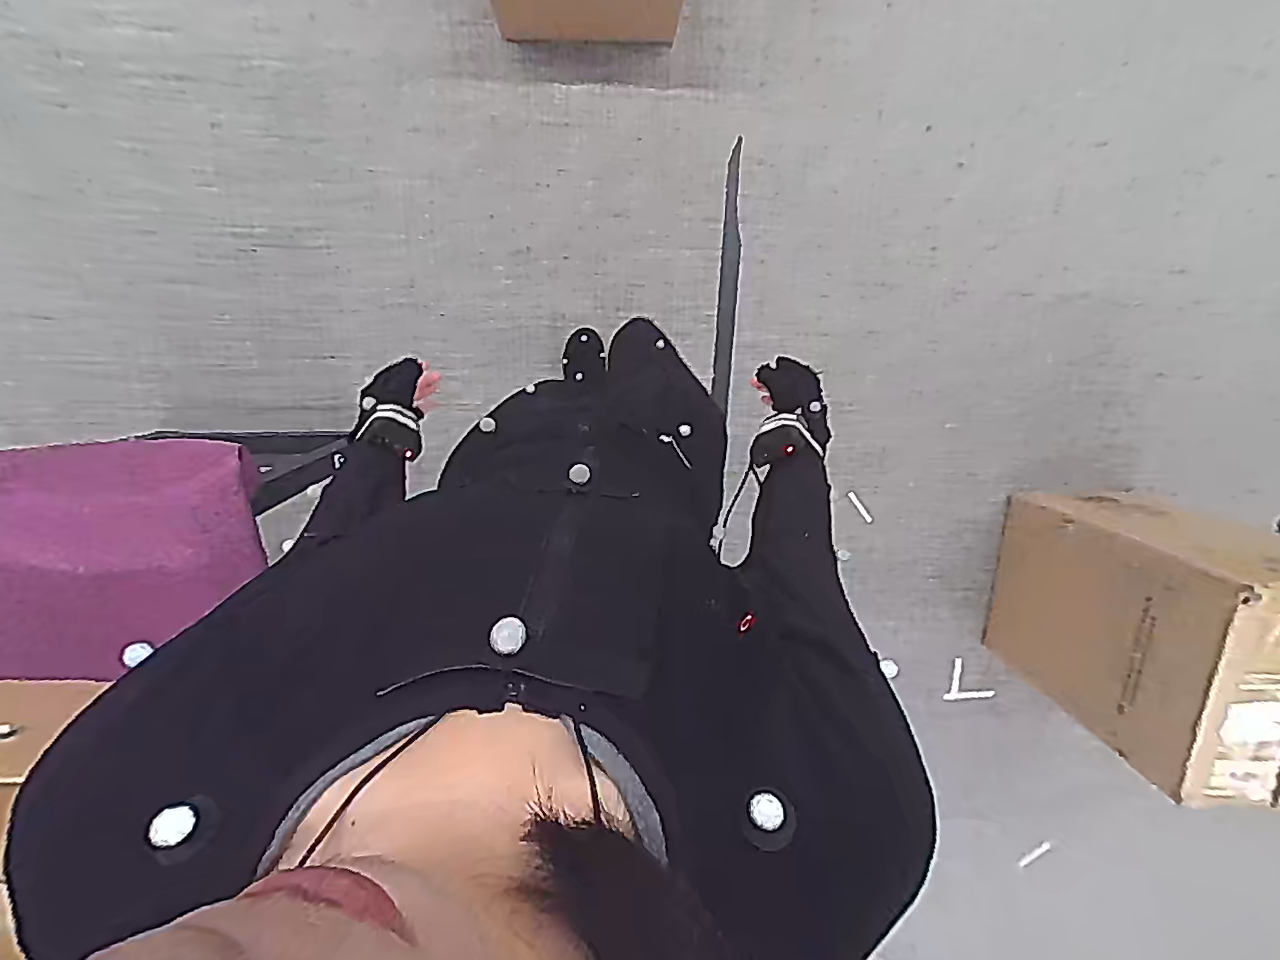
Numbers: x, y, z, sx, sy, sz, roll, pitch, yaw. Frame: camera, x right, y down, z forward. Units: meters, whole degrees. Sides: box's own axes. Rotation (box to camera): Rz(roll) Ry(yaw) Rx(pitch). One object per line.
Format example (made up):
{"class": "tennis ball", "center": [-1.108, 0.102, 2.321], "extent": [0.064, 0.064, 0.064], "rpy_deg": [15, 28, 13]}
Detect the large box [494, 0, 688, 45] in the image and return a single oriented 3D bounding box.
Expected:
{"class": "large box", "center": [-0.105, -1.115, 1.066], "extent": [0.408, 0.320, 0.320], "rpy_deg": [-3, 105, -4]}
